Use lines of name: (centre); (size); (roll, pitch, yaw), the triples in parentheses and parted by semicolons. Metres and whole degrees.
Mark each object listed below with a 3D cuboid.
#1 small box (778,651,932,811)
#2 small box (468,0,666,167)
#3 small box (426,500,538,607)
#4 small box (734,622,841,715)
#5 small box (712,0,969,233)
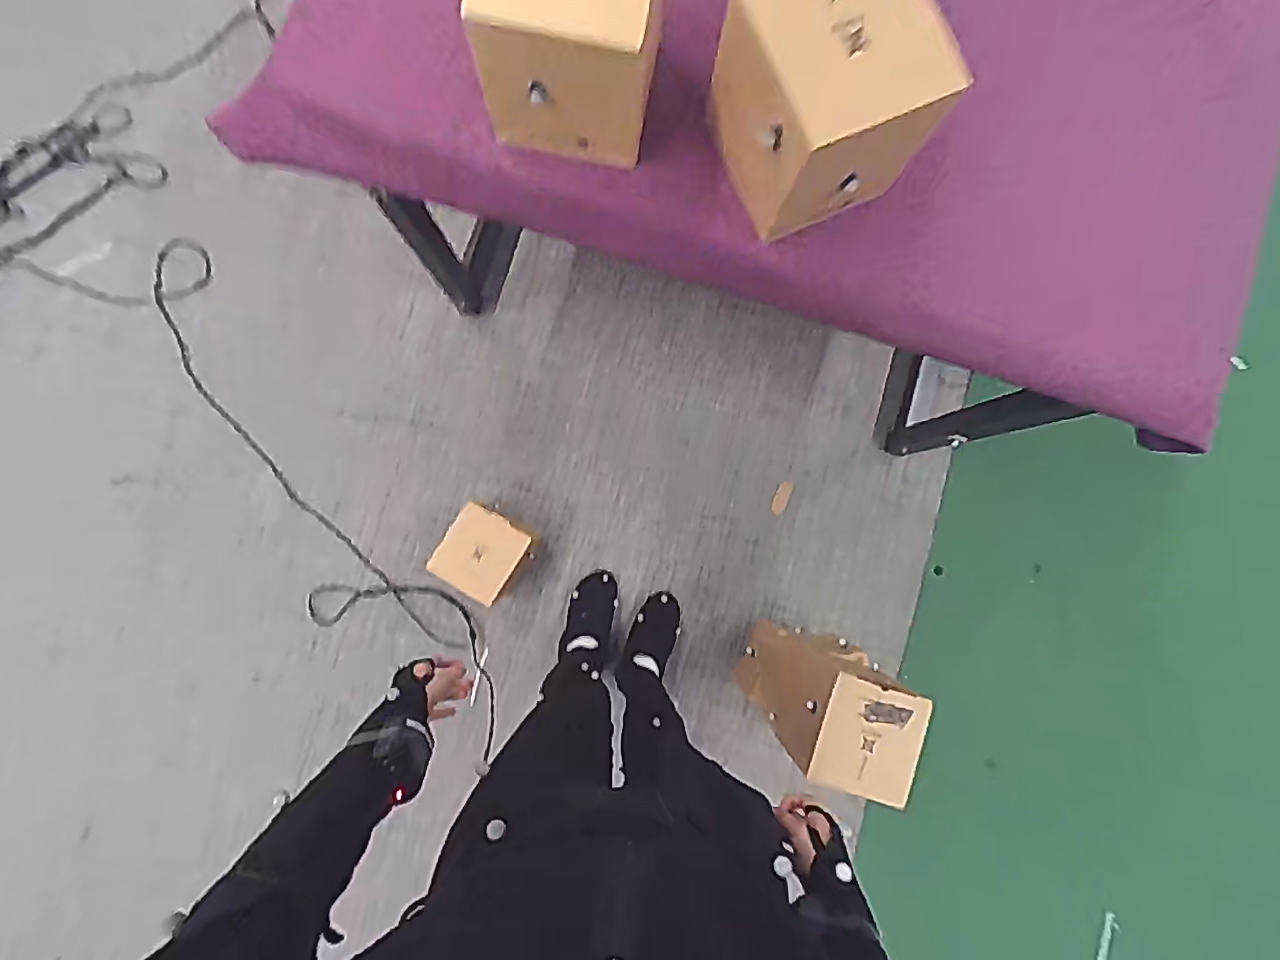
small box: (0.355, 0.414, 0.926); (0.168, 0.176, 0.179); (19, 86, -2)
small box: (-0.064, -0.471, 0.571); (0.168, 0.176, 0.179); (10, 84, -2)
small box: (-0.350, 0.163, 1.242); (0.168, 0.176, 0.179); (33, 86, 1)
small box: (0.337, 0.445, 1.254); (0.179, 0.176, 0.168); (27, 85, 0)
small box: (0.194, -0.395, 0.576); (0.168, 0.176, 0.179); (-23, 87, -5)
